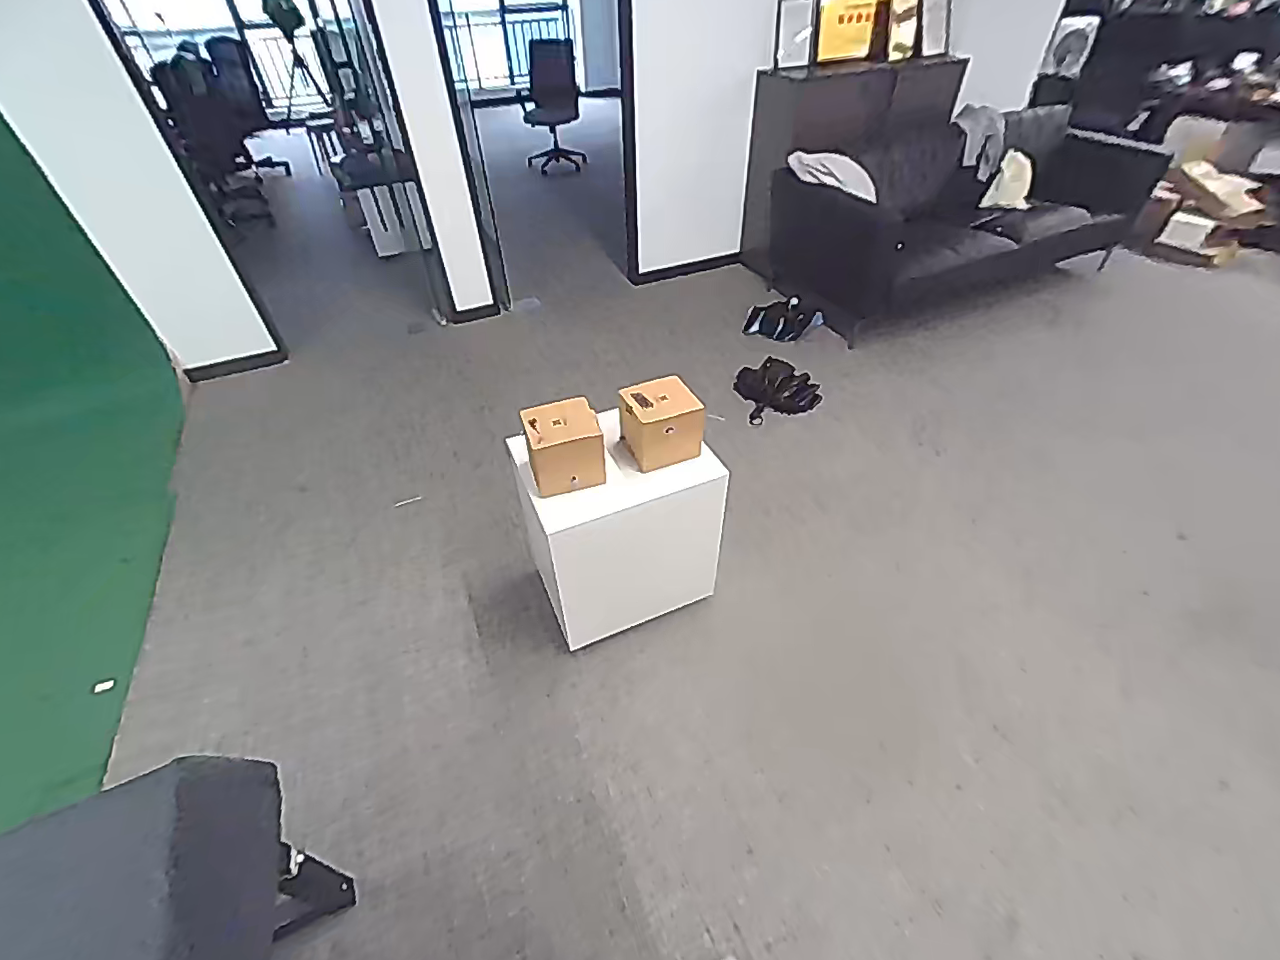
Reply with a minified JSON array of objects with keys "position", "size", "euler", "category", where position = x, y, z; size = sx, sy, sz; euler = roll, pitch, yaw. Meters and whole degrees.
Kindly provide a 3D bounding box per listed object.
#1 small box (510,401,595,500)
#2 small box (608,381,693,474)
[{"position":[-0.221,-0.074,1.367],"size":[0.179,0.176,0.168],"euler":[-13,44,-17],"category":"small box"},{"position":[0.024,-0.138,1.446],"size":[0.179,0.176,0.168],"euler":[-16,46,-19],"category":"small box"}]
